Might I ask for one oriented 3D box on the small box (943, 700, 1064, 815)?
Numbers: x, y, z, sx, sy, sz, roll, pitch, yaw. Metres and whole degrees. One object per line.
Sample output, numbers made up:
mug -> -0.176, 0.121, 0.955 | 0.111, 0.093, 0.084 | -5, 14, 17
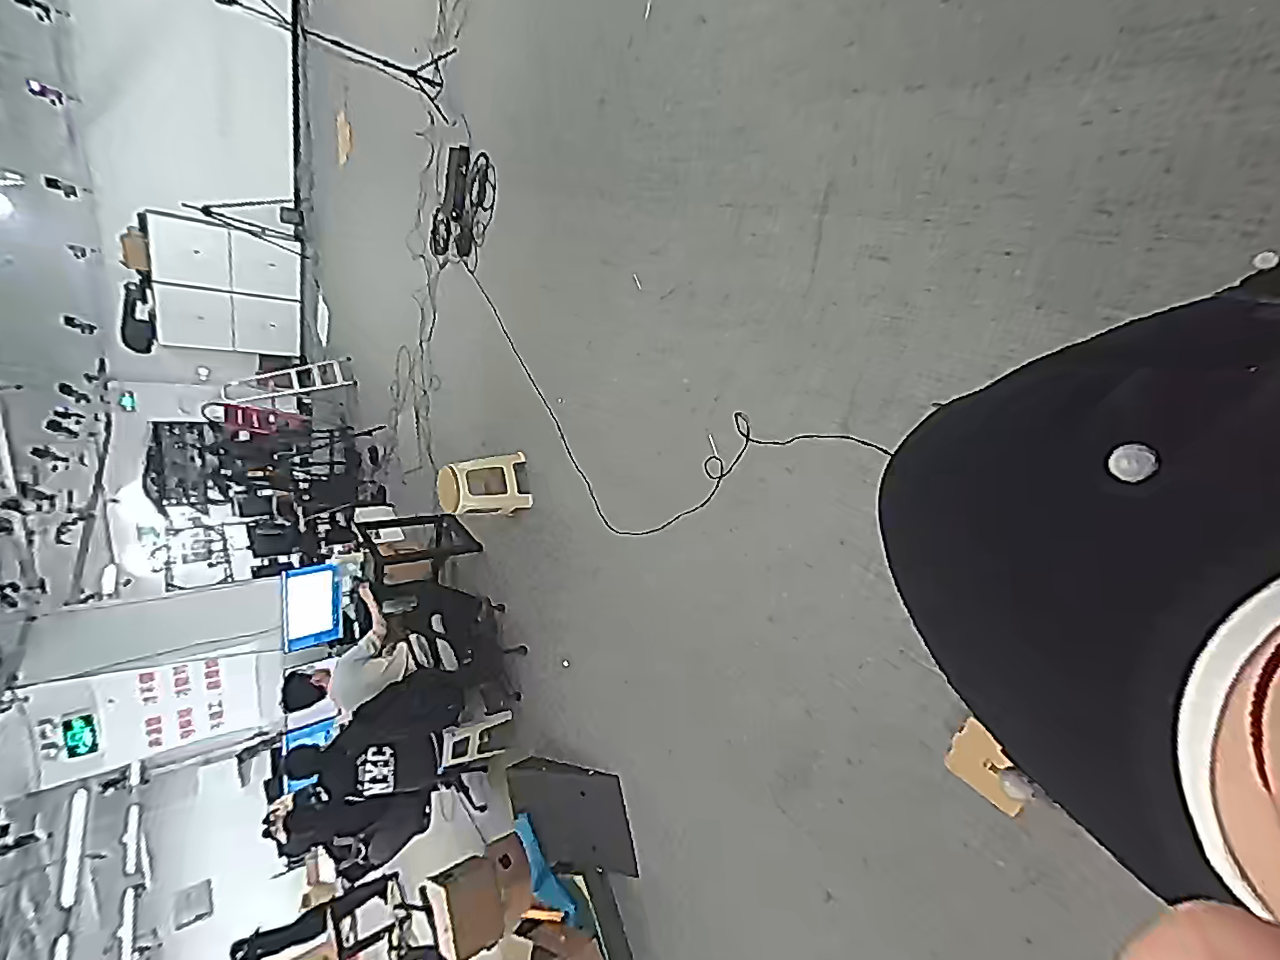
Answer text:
small box -> 0.915, 0.684, 1.361 | 0.179, 0.176, 0.168 | 35, 120, 43
